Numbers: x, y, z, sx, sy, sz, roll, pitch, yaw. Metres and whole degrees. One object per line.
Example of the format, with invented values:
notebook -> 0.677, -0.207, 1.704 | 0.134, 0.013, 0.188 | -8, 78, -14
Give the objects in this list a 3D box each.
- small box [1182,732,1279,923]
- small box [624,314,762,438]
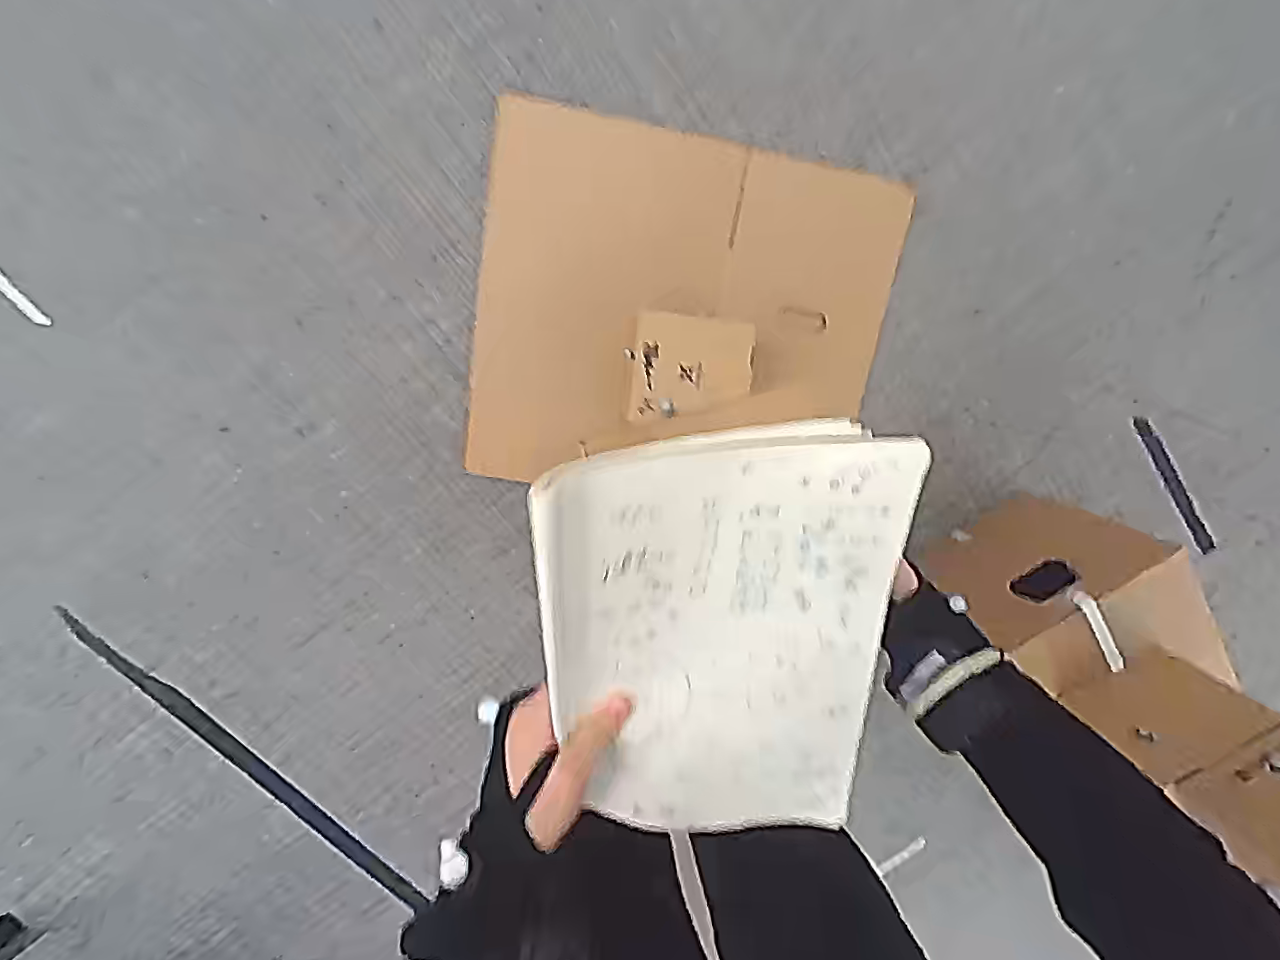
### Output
small box -> 0.771, 0.416, 0.591 | 0.168, 0.176, 0.179 | -34, 102, 4
small box -> 0.075, -0.172, 0.874 | 0.179, 0.176, 0.168 | 6, 104, -7
